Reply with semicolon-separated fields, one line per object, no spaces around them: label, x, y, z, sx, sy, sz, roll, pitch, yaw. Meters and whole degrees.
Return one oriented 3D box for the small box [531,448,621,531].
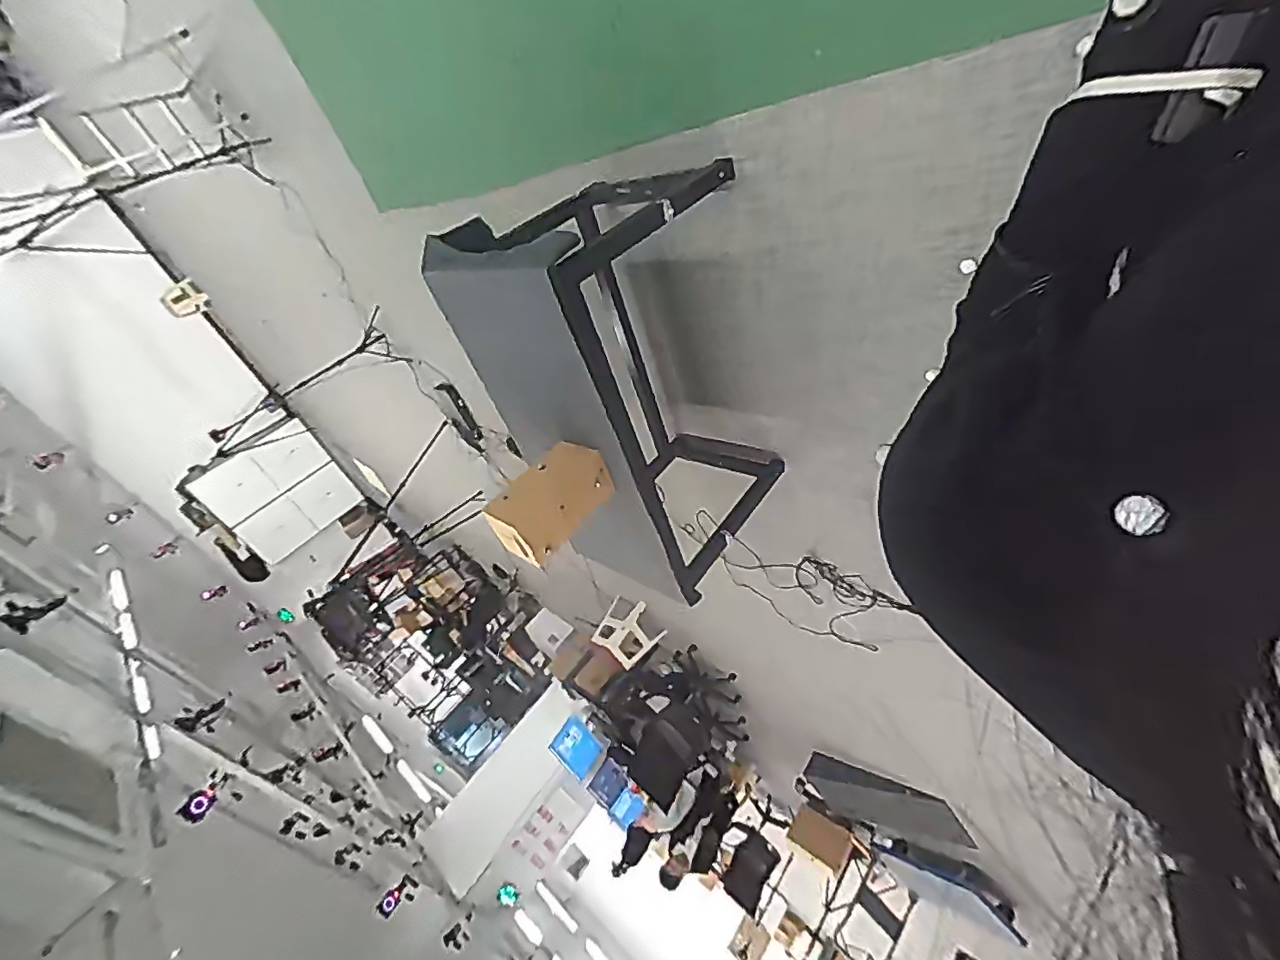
small box;-0.187;0.022;1.625;0.179;0.176;0.168;16;142;42
